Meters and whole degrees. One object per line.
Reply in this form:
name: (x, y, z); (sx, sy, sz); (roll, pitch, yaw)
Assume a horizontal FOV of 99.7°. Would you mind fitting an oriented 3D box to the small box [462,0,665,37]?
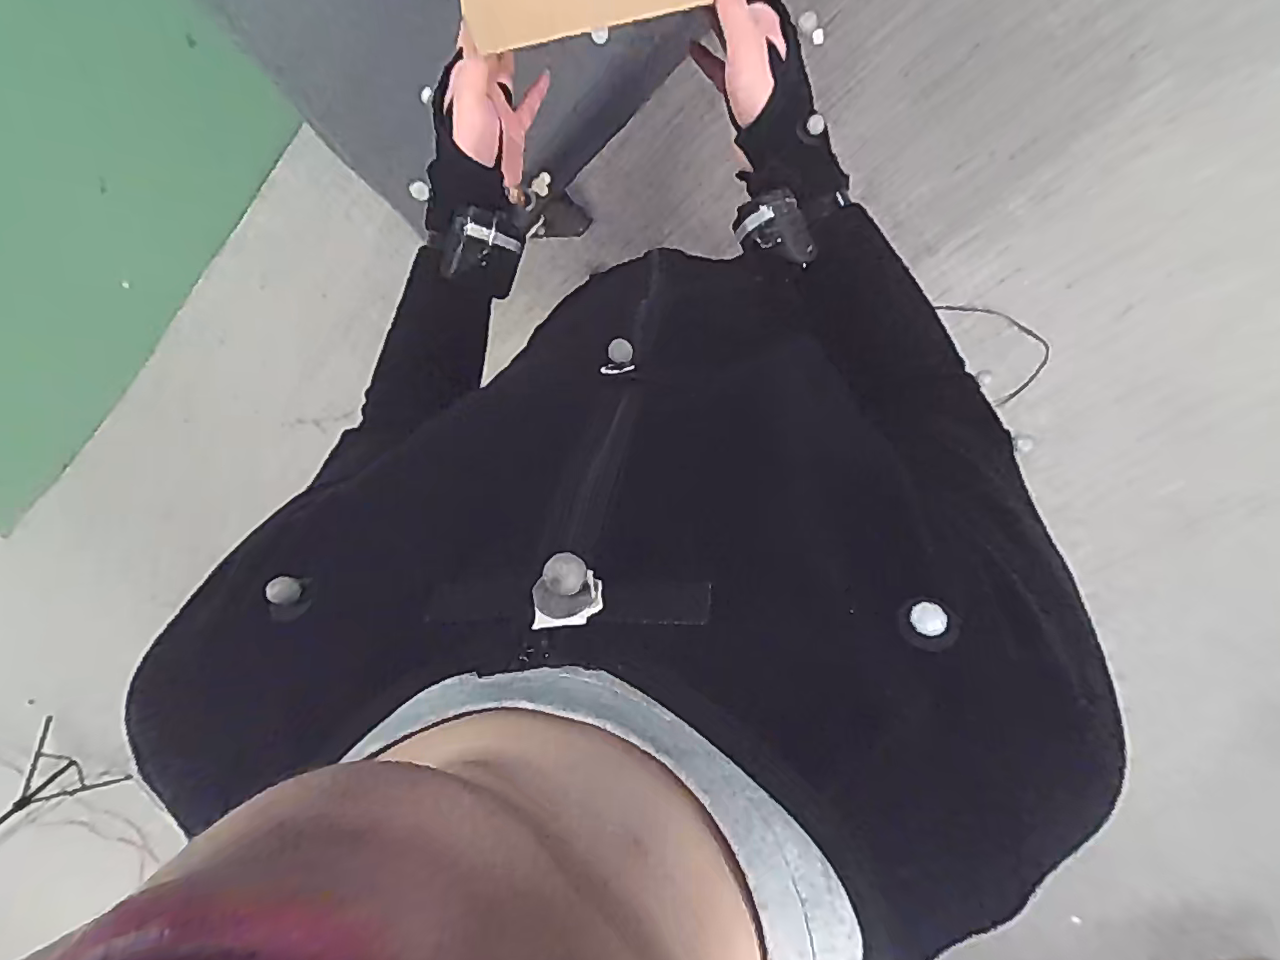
small box: (-0.042, -0.415, 0.345); (0.168, 0.176, 0.179); (-6, 134, 8)
